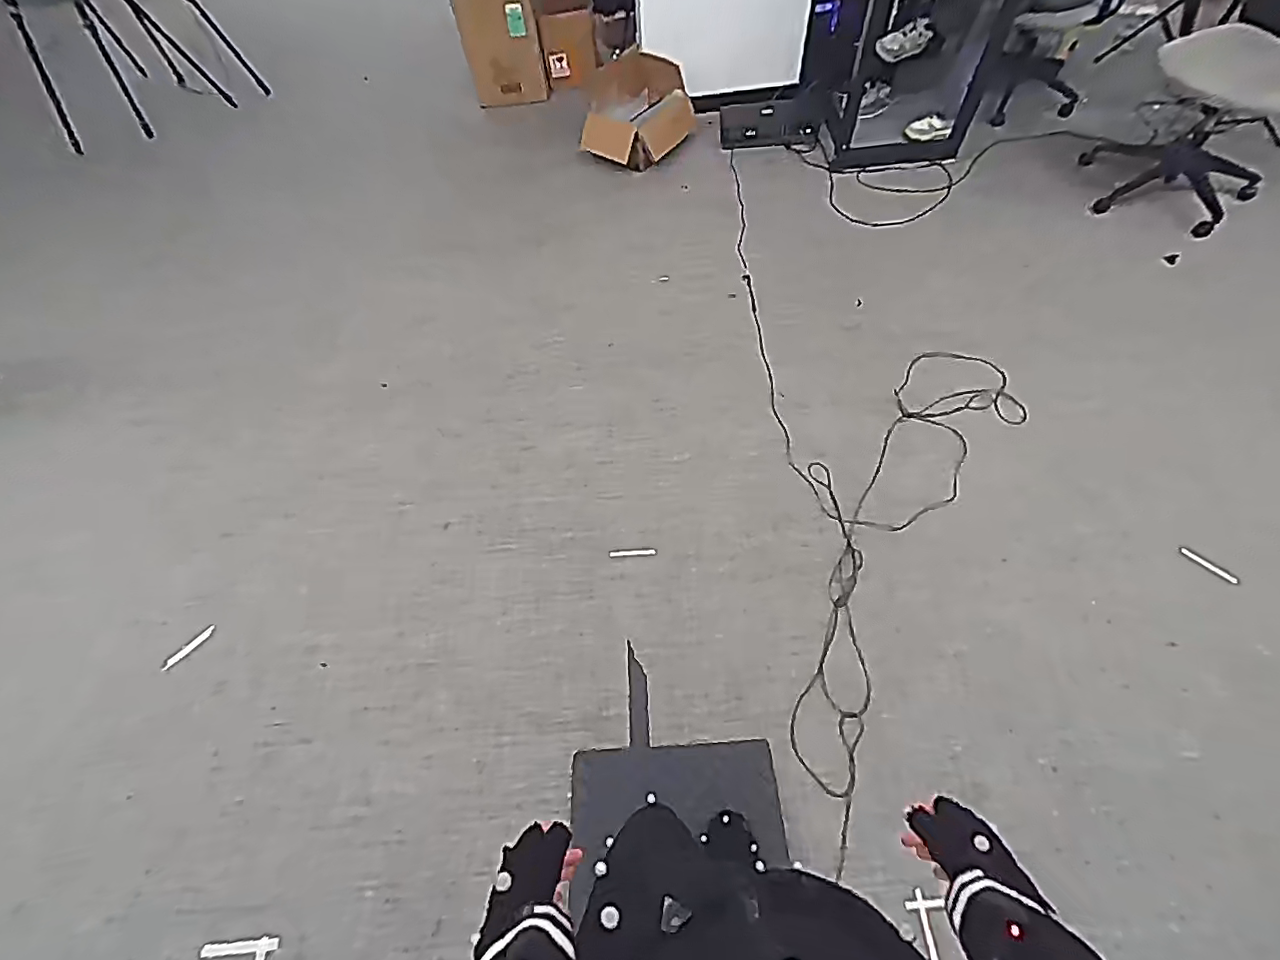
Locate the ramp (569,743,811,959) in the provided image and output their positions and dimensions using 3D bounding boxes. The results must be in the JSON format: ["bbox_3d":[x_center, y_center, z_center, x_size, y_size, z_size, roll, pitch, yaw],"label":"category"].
[{"bbox_3d":[0.101,1.052,1.028,0.509,0.206,0.991,-7,58,2],"label":"ramp"}]
